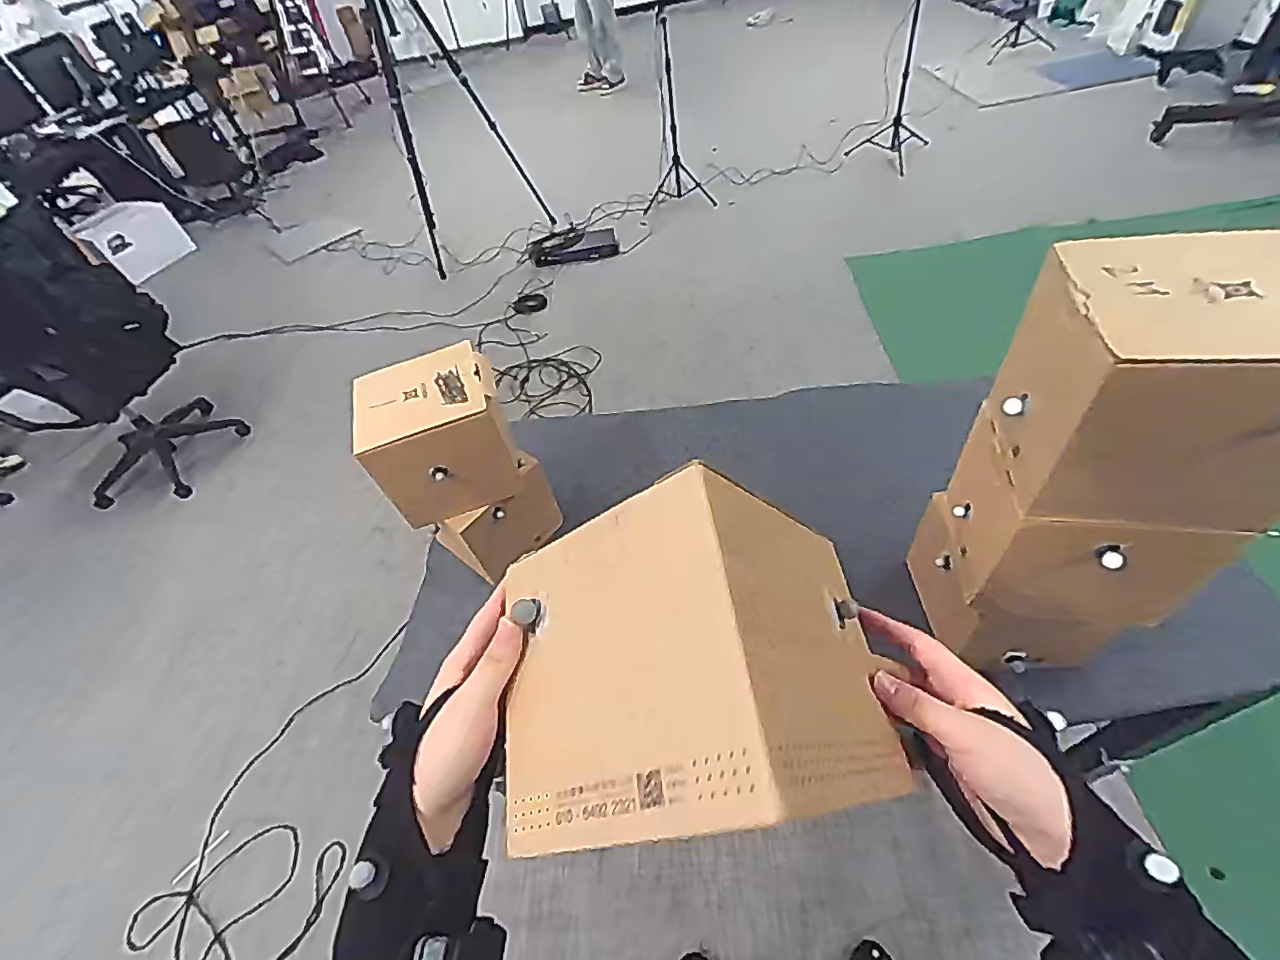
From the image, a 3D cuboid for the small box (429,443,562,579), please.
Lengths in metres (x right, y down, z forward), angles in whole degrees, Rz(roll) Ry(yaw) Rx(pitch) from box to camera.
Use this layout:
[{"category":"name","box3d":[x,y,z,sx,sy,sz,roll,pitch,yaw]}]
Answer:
[{"category":"small box","box3d":[-0.261,0.037,0.914,0.179,0.176,0.168,29,61,30]}]

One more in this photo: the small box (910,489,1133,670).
[{"category":"small box","box3d":[0.468,0.124,0.692,0.168,0.176,0.179,-6,49,8]}]

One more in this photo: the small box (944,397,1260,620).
[{"category":"small box","box3d":[0.443,0.030,0.562,0.179,0.176,0.168,2,50,15]}]

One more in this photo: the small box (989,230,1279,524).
[{"category":"small box","box3d":[0.420,-0.080,0.440,0.179,0.176,0.168,4,50,16]}]

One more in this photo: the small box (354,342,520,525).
[{"category":"small box","box3d":[-0.286,-0.065,0.786,0.179,0.176,0.168,-20,50,-6]}]
